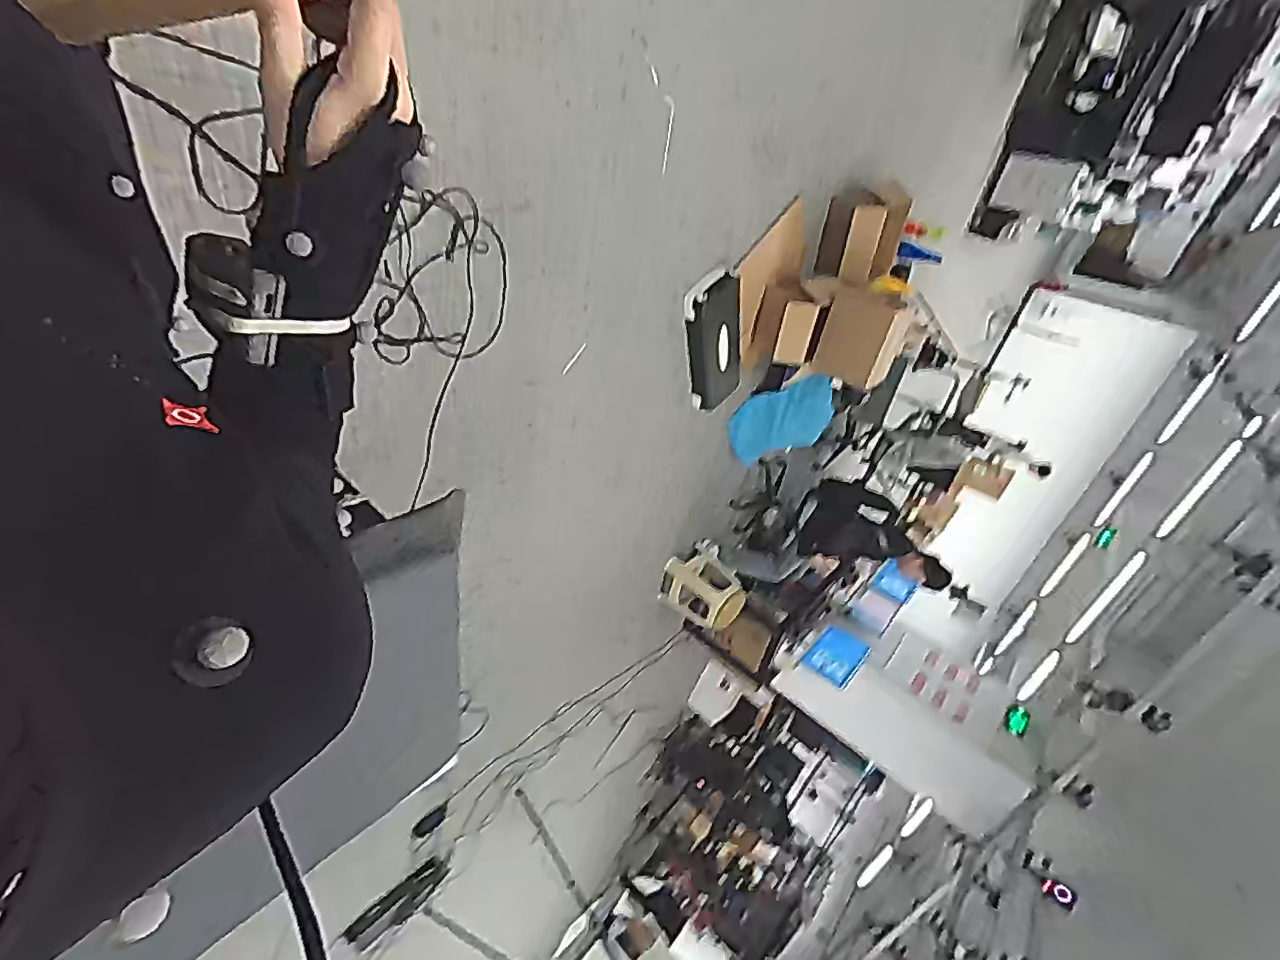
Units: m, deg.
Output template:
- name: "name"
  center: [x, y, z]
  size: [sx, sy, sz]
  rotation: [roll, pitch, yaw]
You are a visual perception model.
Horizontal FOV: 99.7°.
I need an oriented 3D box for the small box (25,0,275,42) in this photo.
- name: "small box"
  center: [-0.224, -0.332, 0.210]
  size: [0.179, 0.168, 0.176]
  rotation: [62, 26, -70]
